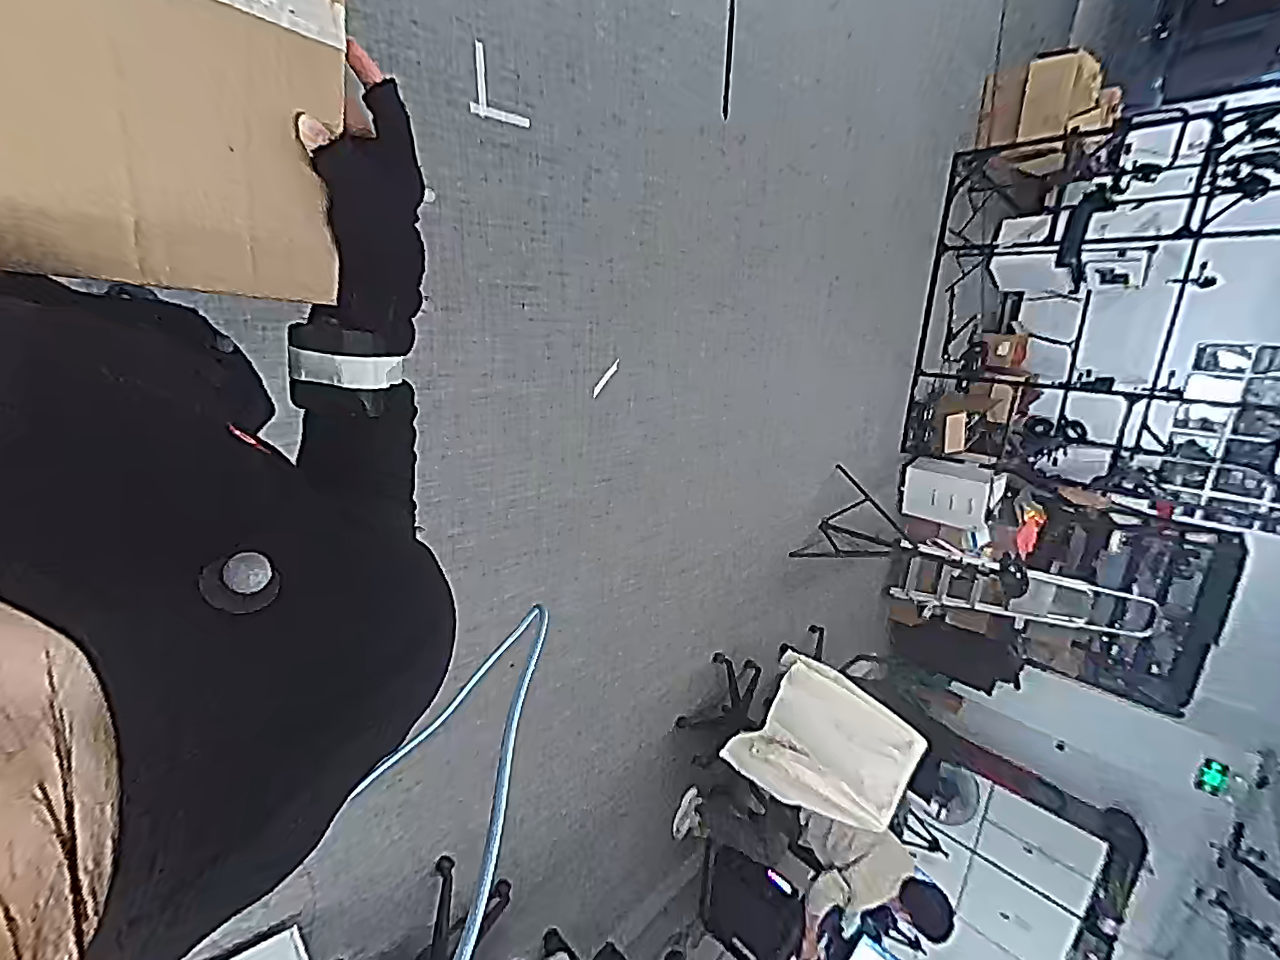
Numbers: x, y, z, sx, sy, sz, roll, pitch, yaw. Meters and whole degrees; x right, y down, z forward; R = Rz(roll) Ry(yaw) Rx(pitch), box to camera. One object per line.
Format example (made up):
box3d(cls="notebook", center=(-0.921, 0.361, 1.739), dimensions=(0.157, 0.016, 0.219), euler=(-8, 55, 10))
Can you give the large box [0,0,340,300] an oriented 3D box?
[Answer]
box3d(cls="large box", center=(-0.421, -0.305, 0.283), dimensions=(0.408, 0.320, 0.320), euler=(-8, 123, -42))
